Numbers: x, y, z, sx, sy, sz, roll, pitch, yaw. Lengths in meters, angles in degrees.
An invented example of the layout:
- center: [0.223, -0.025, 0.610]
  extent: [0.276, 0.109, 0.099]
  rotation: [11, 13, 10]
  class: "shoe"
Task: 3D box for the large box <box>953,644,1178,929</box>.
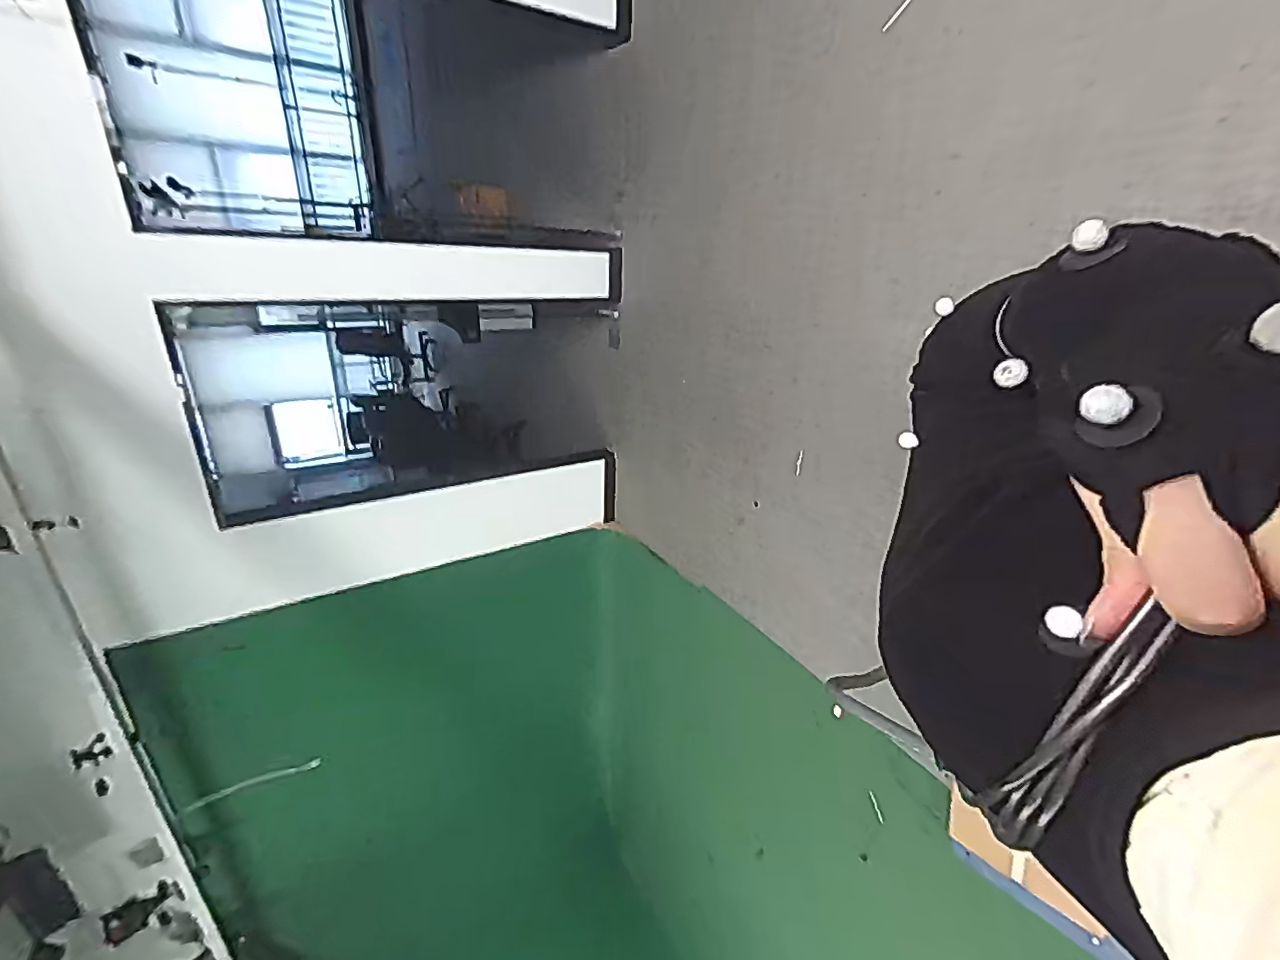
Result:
- center: [0.961, 0.657, 1.238]
  extent: [0.320, 0.320, 0.408]
  rotation: [16, 114, 56]
  class: "large box"
